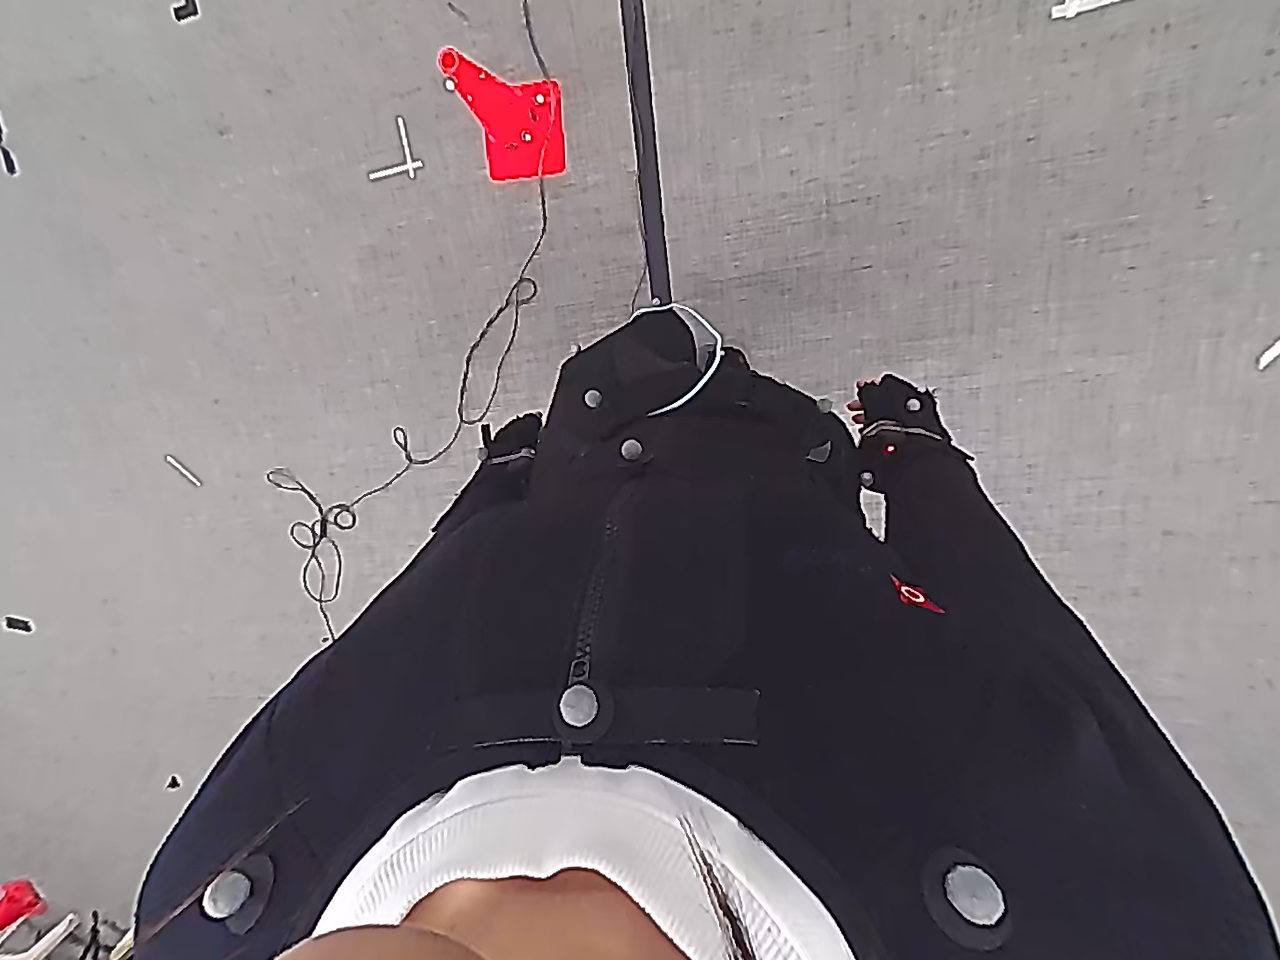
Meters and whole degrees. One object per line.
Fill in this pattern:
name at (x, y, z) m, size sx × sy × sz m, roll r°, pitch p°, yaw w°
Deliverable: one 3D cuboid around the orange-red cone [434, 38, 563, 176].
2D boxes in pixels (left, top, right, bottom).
orange-red cone at (-0.313, -0.794, 1.115) m, size 0.199 × 0.360 × 0.198 m, roll 1°, pitch 104°, yaw 12°
